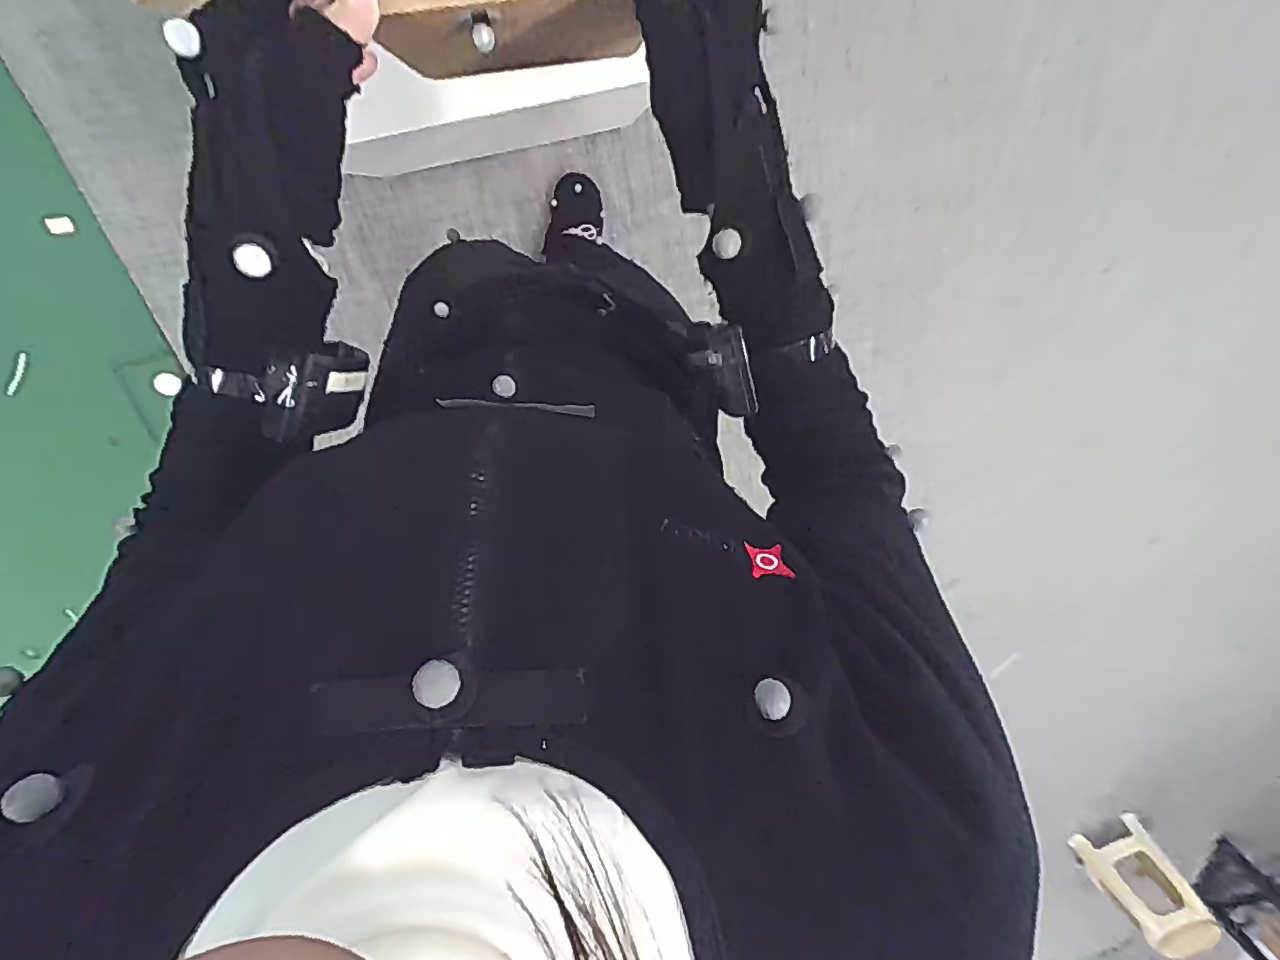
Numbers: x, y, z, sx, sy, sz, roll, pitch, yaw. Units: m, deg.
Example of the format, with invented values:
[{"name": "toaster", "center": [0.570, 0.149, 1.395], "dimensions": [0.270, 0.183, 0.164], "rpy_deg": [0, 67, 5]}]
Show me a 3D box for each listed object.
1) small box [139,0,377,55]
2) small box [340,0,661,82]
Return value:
[{"name": "small box", "center": [-0.350, -0.509, 0.467], "dimensions": [0.168, 0.176, 0.179], "rpy_deg": [-15, 120, 1]}, {"name": "small box", "center": [-0.083, -0.352, 0.303], "dimensions": [0.168, 0.176, 0.179], "rpy_deg": [-8, 119, -1]}]
